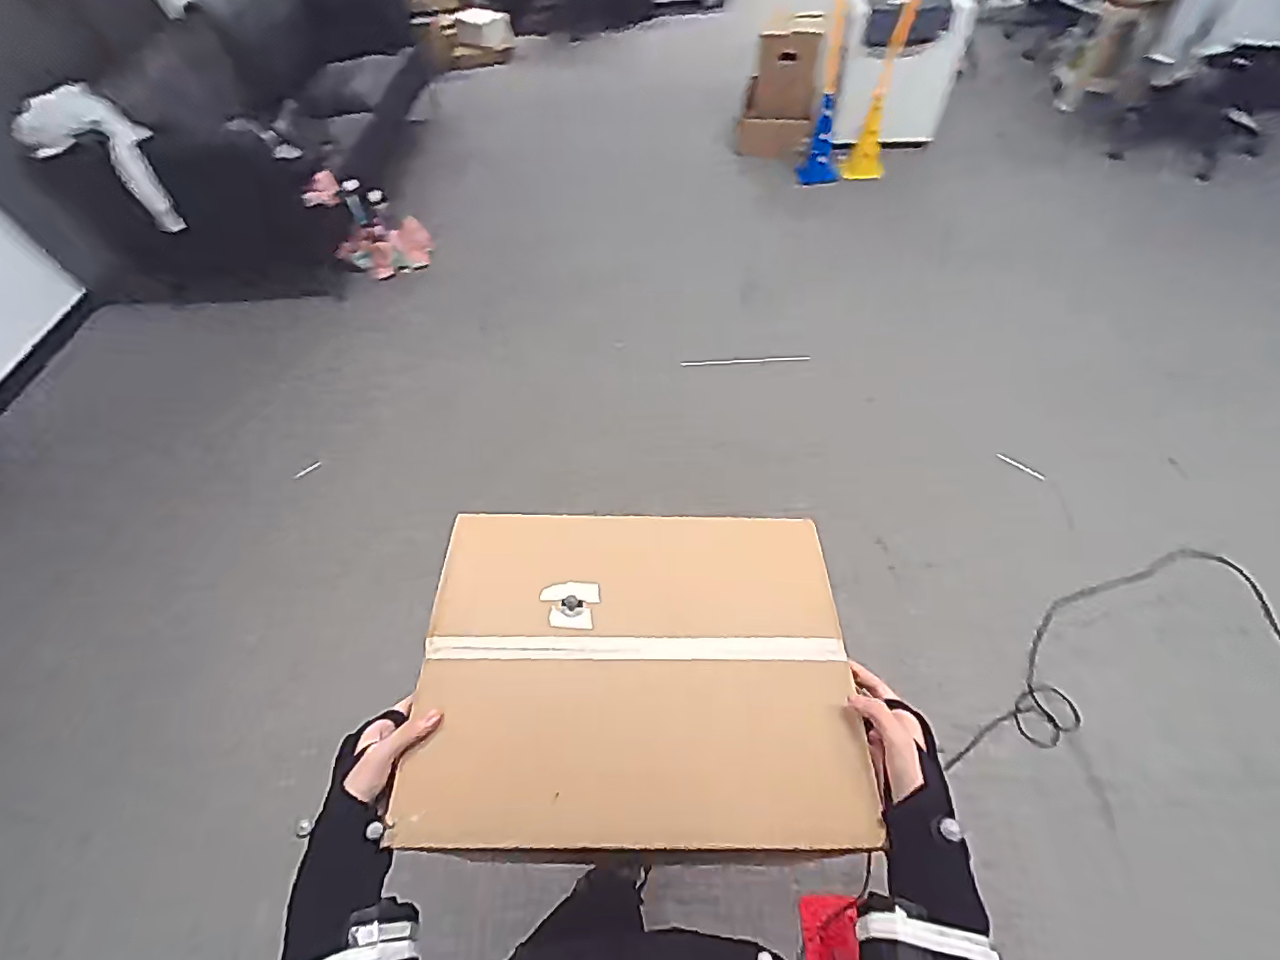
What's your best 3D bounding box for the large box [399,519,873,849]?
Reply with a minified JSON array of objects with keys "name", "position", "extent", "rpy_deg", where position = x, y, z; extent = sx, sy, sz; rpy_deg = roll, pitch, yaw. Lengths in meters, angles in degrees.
[{"name":"large box","position":[-0.002,0.258,0.655],"extent":[0.408,0.320,0.320],"rpy_deg":[2,53,0]}]
